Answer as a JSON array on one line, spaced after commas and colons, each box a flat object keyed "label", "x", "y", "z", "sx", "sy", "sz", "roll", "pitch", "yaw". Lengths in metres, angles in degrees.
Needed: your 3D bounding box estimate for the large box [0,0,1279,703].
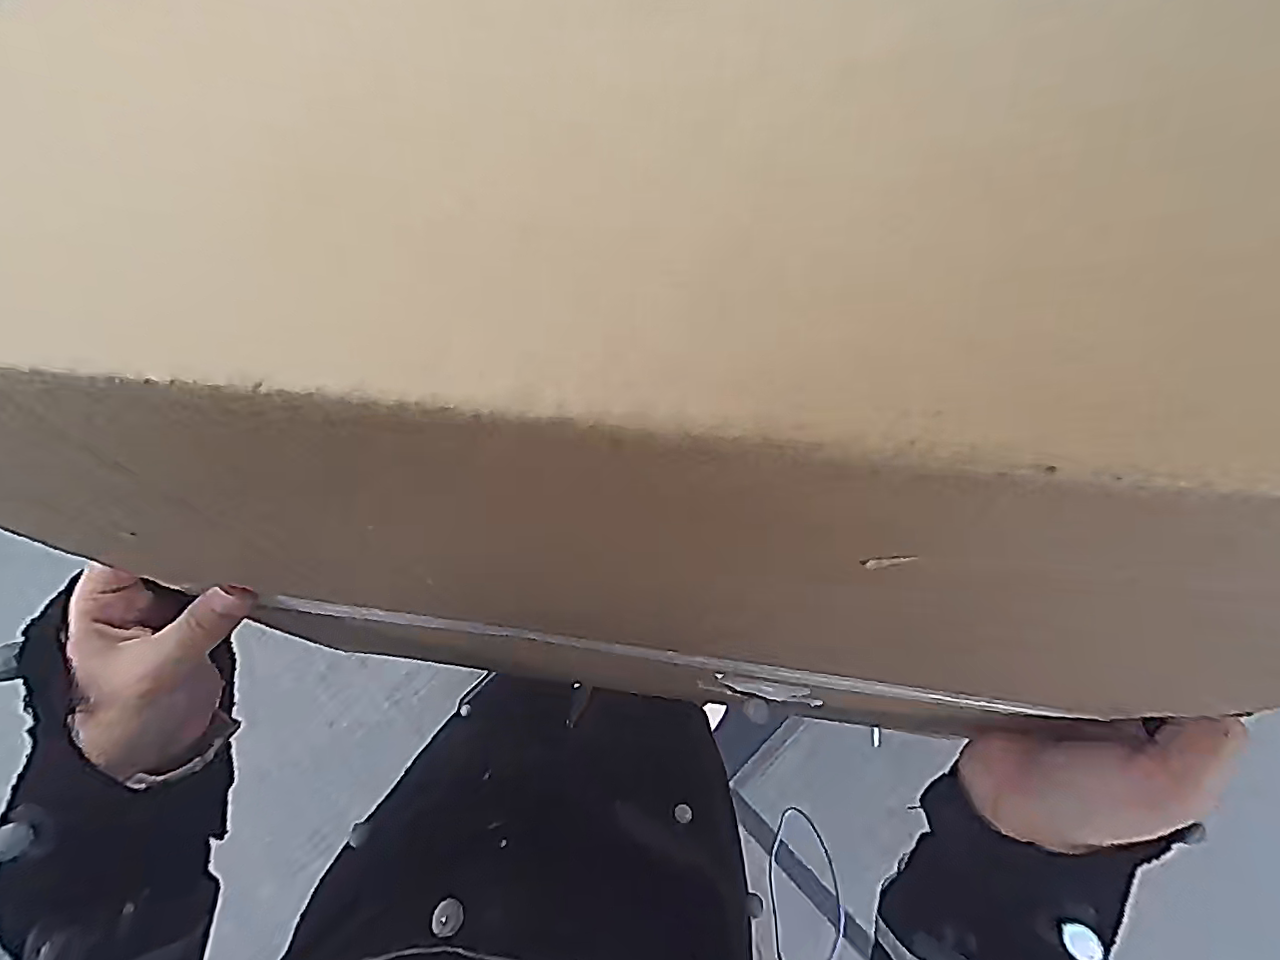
[{"label": "large box", "x": 0.025, "y": -0.092, "z": 0.281, "sx": 0.408, "sy": 0.320, "sz": 0.320, "roll": 6, "pitch": 62, "yaw": 5}]
